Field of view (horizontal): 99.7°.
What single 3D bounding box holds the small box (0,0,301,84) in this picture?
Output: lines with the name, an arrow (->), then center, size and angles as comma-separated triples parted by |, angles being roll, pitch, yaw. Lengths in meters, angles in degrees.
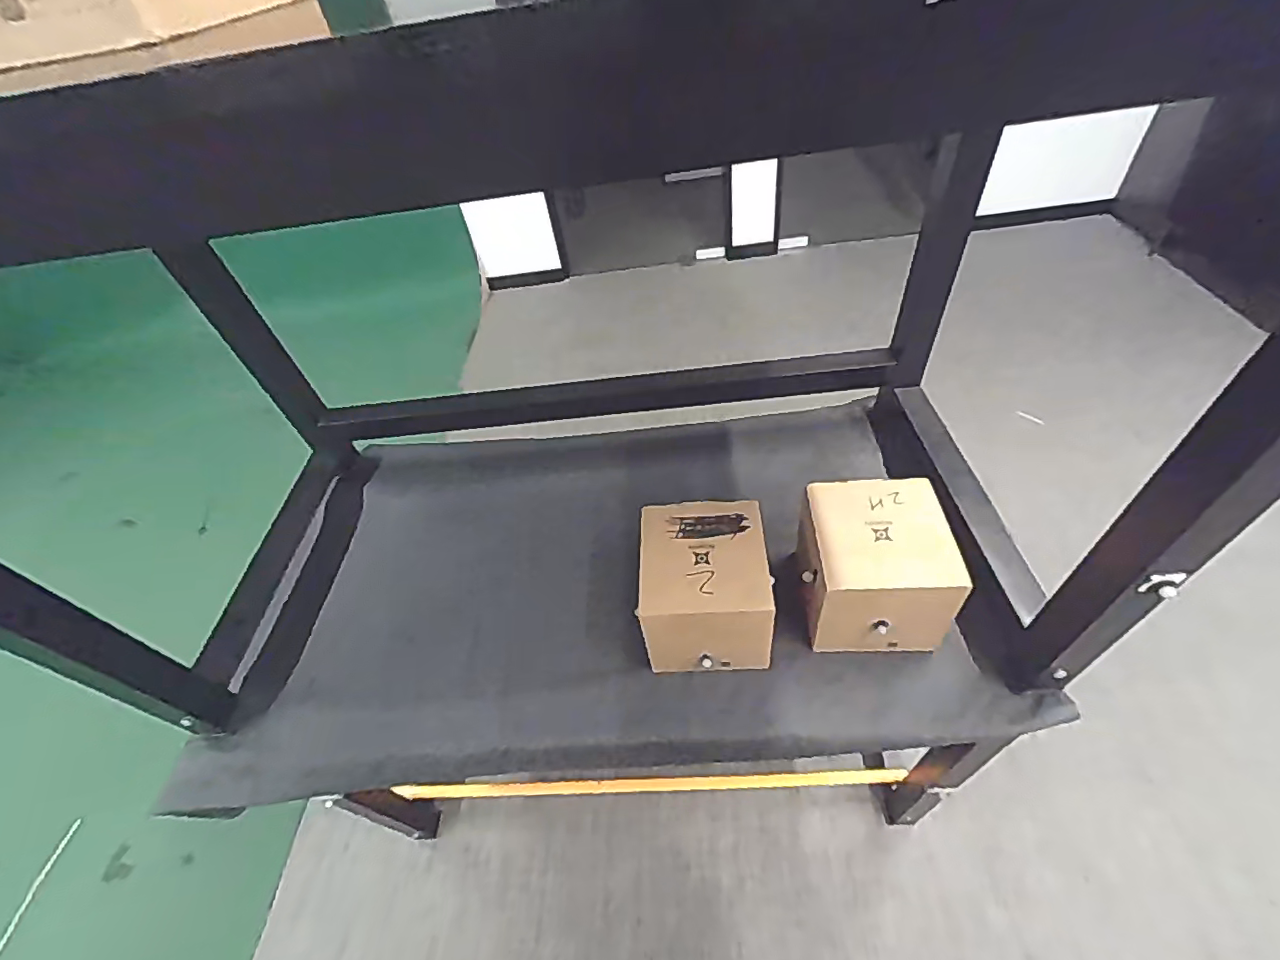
small box -> -0.320, -0.319, 0.273 | 0.168, 0.176, 0.179 | -3, 47, 7

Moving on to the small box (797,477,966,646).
small box -> 0.318, 0.118, 0.754 | 0.168, 0.176, 0.179 | -2, 47, 8
